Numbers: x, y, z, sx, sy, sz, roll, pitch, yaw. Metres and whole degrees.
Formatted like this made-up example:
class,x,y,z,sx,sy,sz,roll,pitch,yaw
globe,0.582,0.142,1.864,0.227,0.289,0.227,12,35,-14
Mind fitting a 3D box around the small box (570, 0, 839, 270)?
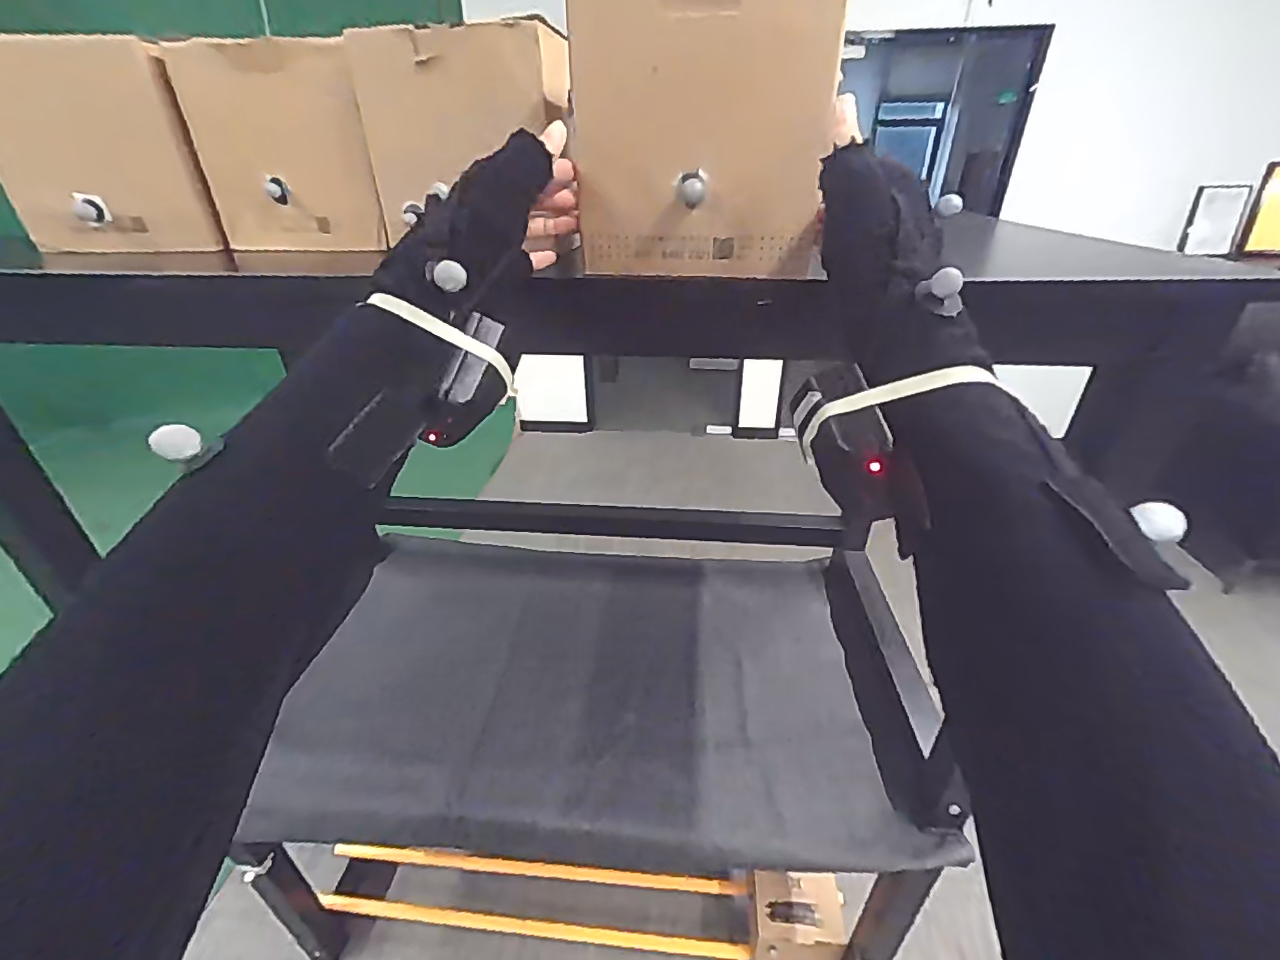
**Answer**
class,x,y,z,sx,sy,sz,roll,pitch,yaw
small box,0.049,-0.269,0.424,0.168,0.176,0.179,4,30,10
